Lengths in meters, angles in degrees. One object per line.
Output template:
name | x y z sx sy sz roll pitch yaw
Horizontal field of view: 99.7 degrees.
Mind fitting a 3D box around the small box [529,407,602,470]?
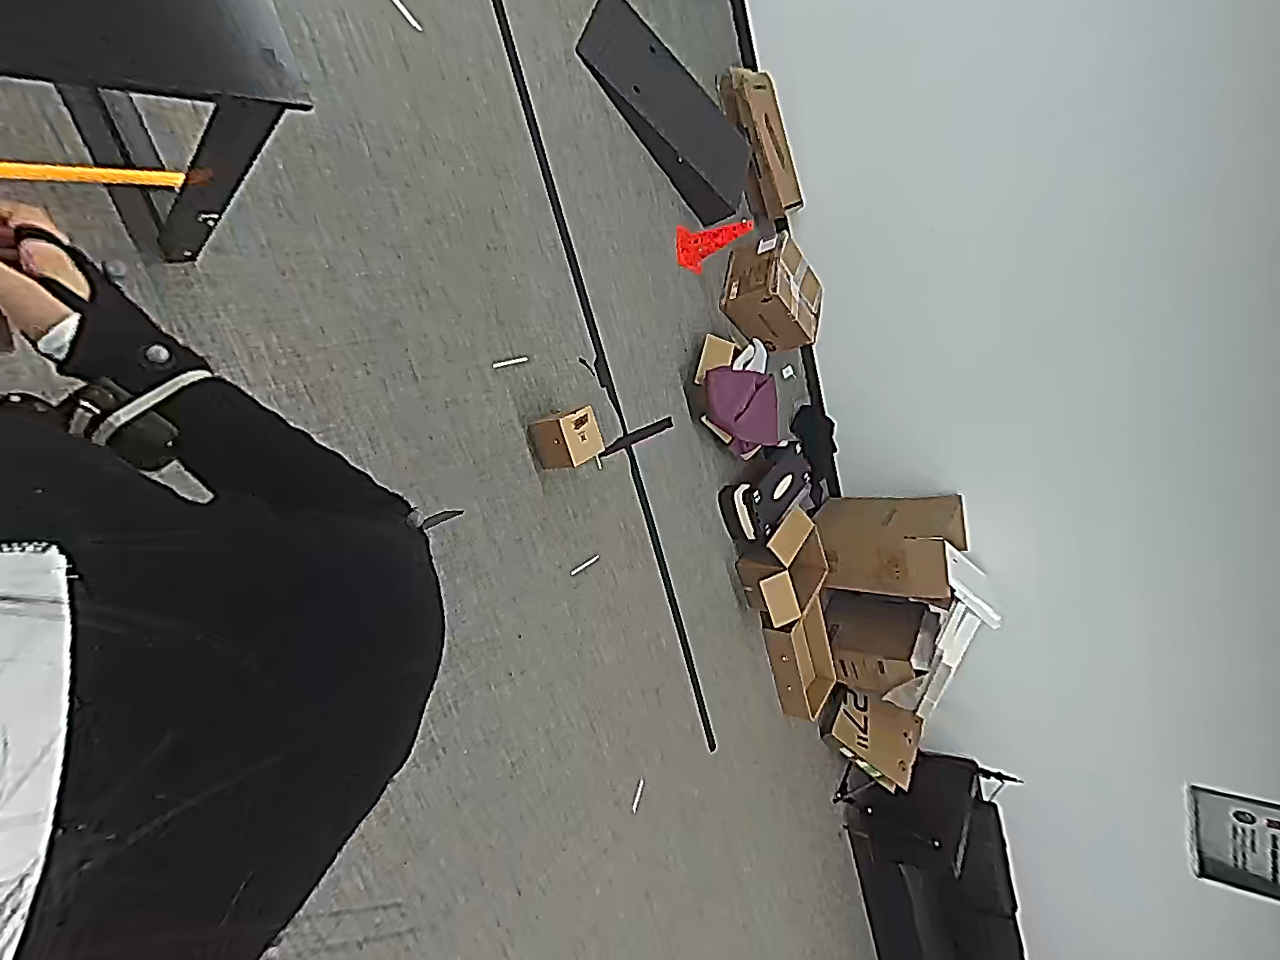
small box | -0.268 -0.145 1.925 0.168 0.176 0.179 -33 112 -45

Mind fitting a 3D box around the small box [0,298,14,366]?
small box | -0.548 -0.161 0.335 0.168 0.176 0.179 -27 104 -44
